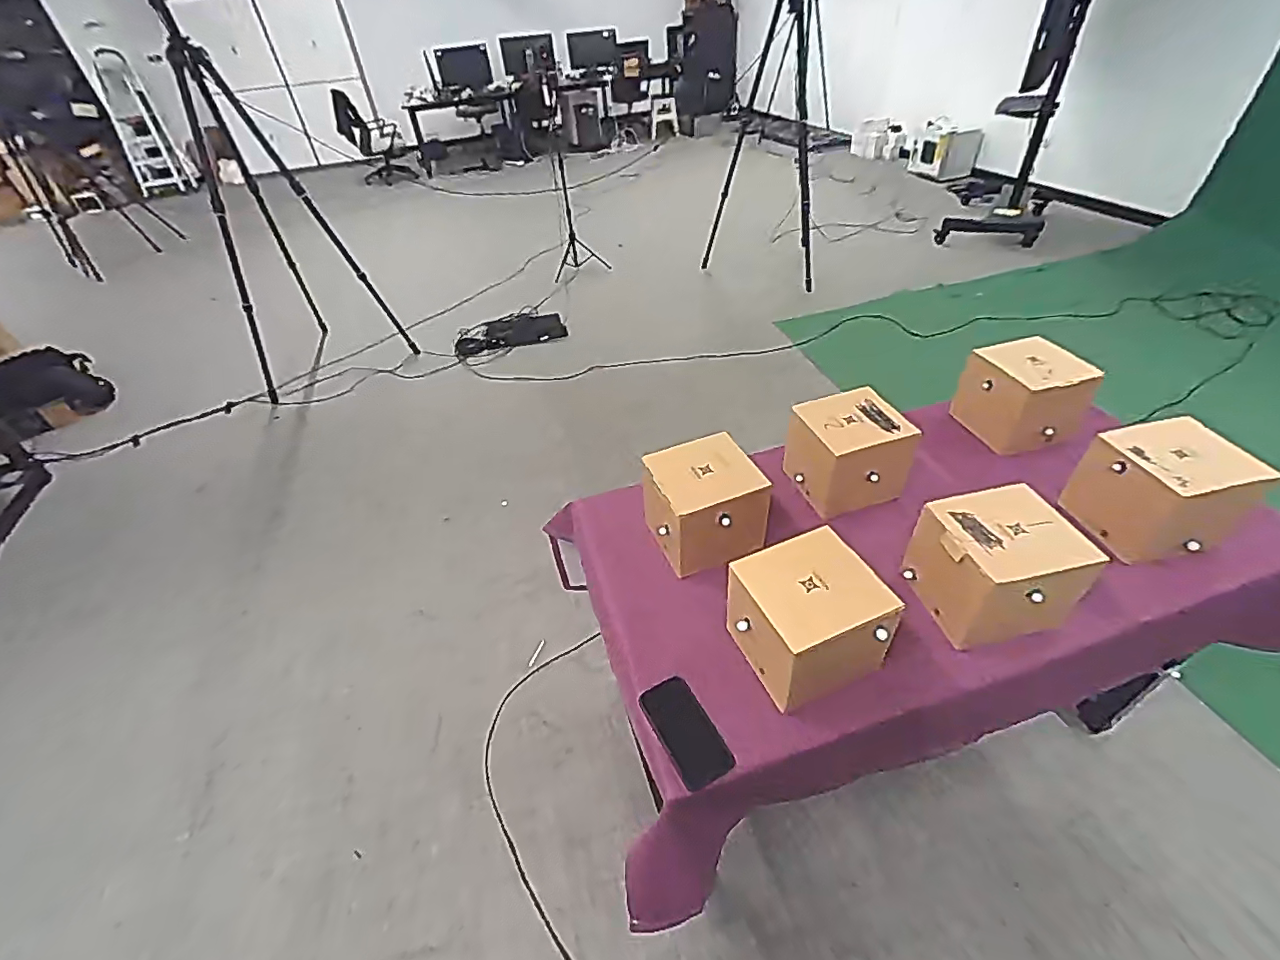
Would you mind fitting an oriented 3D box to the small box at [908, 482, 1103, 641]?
[{"bbox_3d":[0.550,0.130,0.850,0.179,0.176,0.168,-10,42,-6],"label":"small box"}]

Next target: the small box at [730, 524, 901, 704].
[{"bbox_3d":[0.248,0.201,0.807,0.179,0.176,0.168,-18,43,-15],"label":"small box"}]

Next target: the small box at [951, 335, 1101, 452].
[{"bbox_3d":[0.814,-0.186,1.166,0.168,0.176,0.179,-13,43,-7],"label":"small box"}]

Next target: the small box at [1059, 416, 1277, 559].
[{"bbox_3d":[0.892,0.015,0.938,0.179,0.176,0.168,-10,42,-5],"label":"small box"}]
